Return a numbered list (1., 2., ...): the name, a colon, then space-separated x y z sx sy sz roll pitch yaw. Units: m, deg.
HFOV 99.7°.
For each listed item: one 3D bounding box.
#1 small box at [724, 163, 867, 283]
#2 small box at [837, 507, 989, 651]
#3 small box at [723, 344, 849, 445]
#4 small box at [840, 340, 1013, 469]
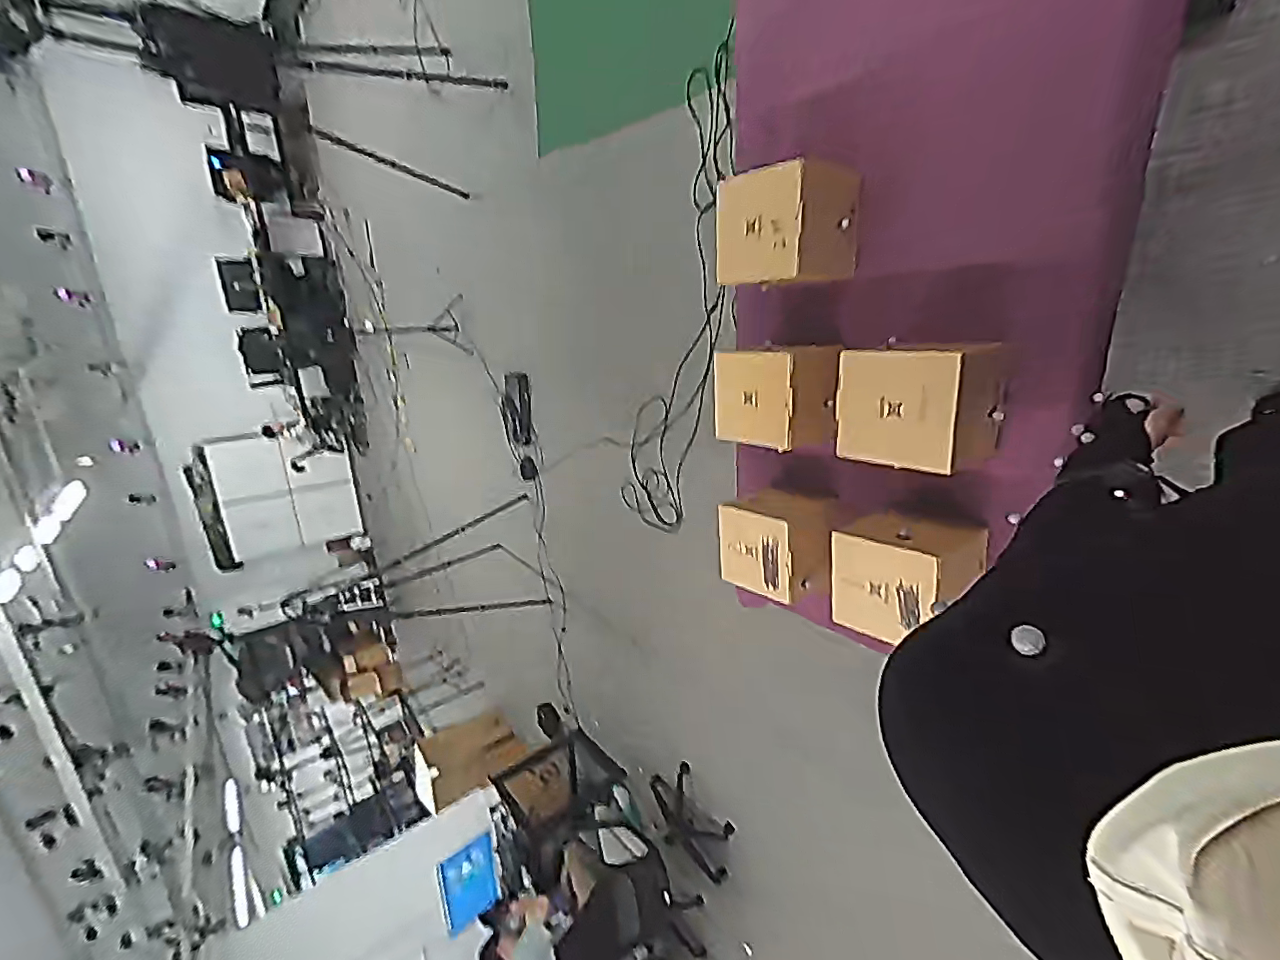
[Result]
1. small box: 0.268 -0.438 0.951 0.179 0.176 0.168 18 117 49
2. small box: 0.456 0.152 0.908 0.179 0.176 0.168 14 113 53
3. small box: 0.279 -0.171 1.038 0.179 0.176 0.168 15 115 49
4. small box: 0.438 -0.125 0.838 0.179 0.176 0.168 17 116 50
